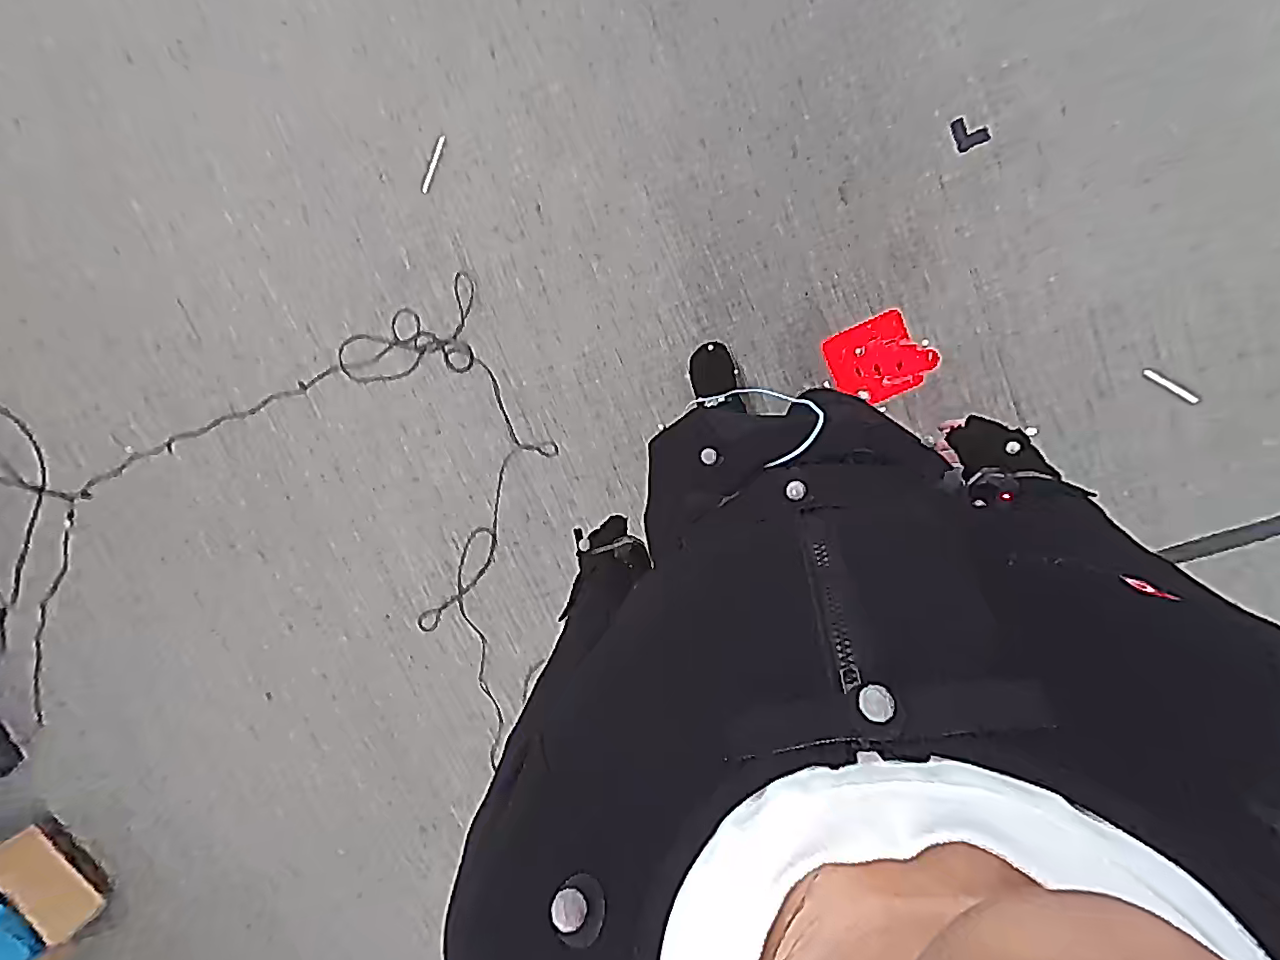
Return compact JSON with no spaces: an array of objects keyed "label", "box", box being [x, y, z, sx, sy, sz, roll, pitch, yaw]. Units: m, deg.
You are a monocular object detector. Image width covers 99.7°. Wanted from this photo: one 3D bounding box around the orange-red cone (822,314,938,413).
[{"label":"orange-red cone","box":[0.546,-0.250,1.157,0.199,0.360,0.198,-22,98,9]}]
